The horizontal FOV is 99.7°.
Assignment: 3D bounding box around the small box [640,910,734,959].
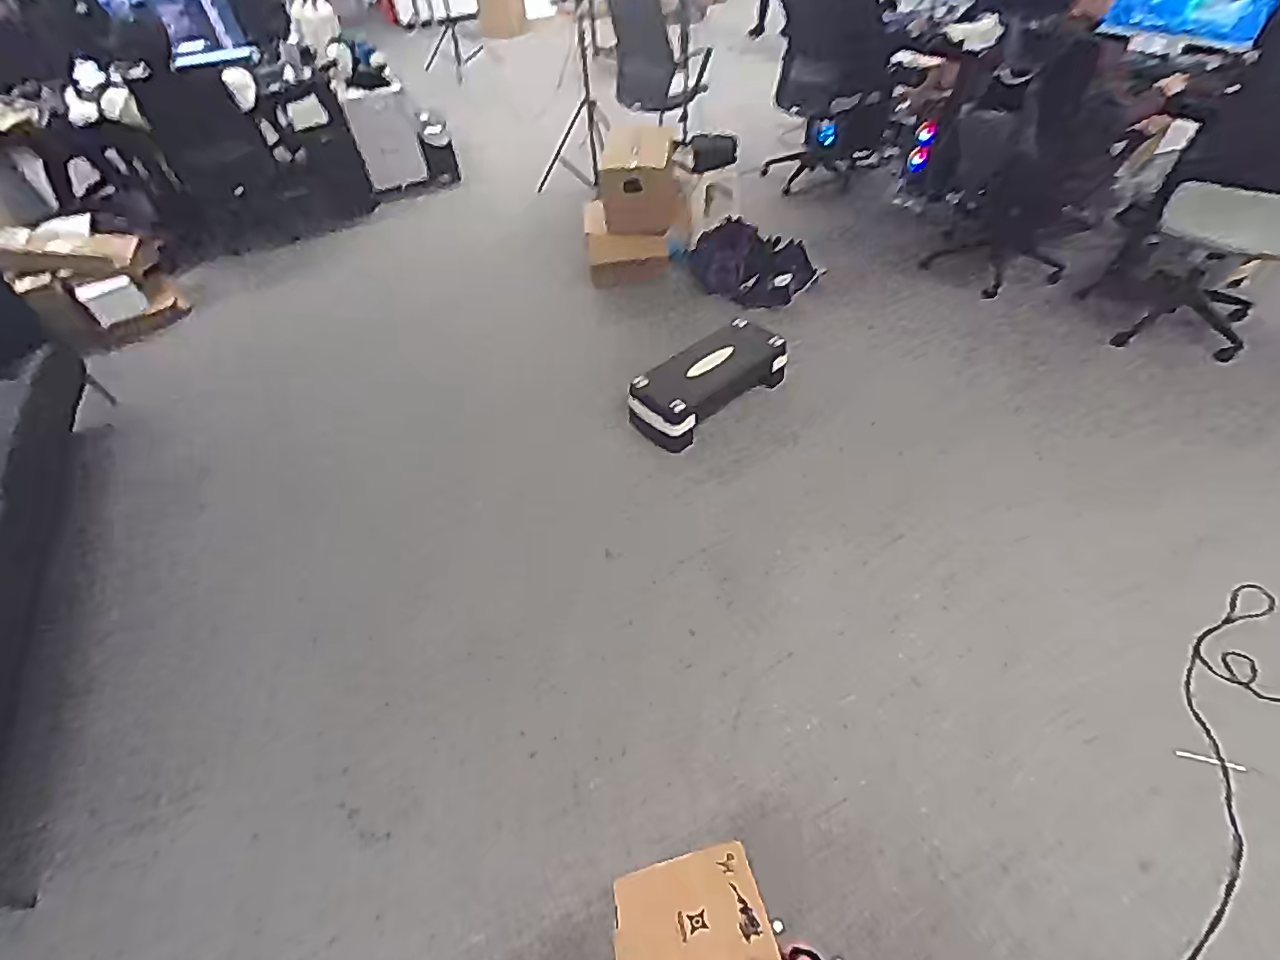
[{"bbox_3d":[0.097,0.889,0.929,0.168,0.176,0.179,-28,53,-16],"label":"small box"}]
